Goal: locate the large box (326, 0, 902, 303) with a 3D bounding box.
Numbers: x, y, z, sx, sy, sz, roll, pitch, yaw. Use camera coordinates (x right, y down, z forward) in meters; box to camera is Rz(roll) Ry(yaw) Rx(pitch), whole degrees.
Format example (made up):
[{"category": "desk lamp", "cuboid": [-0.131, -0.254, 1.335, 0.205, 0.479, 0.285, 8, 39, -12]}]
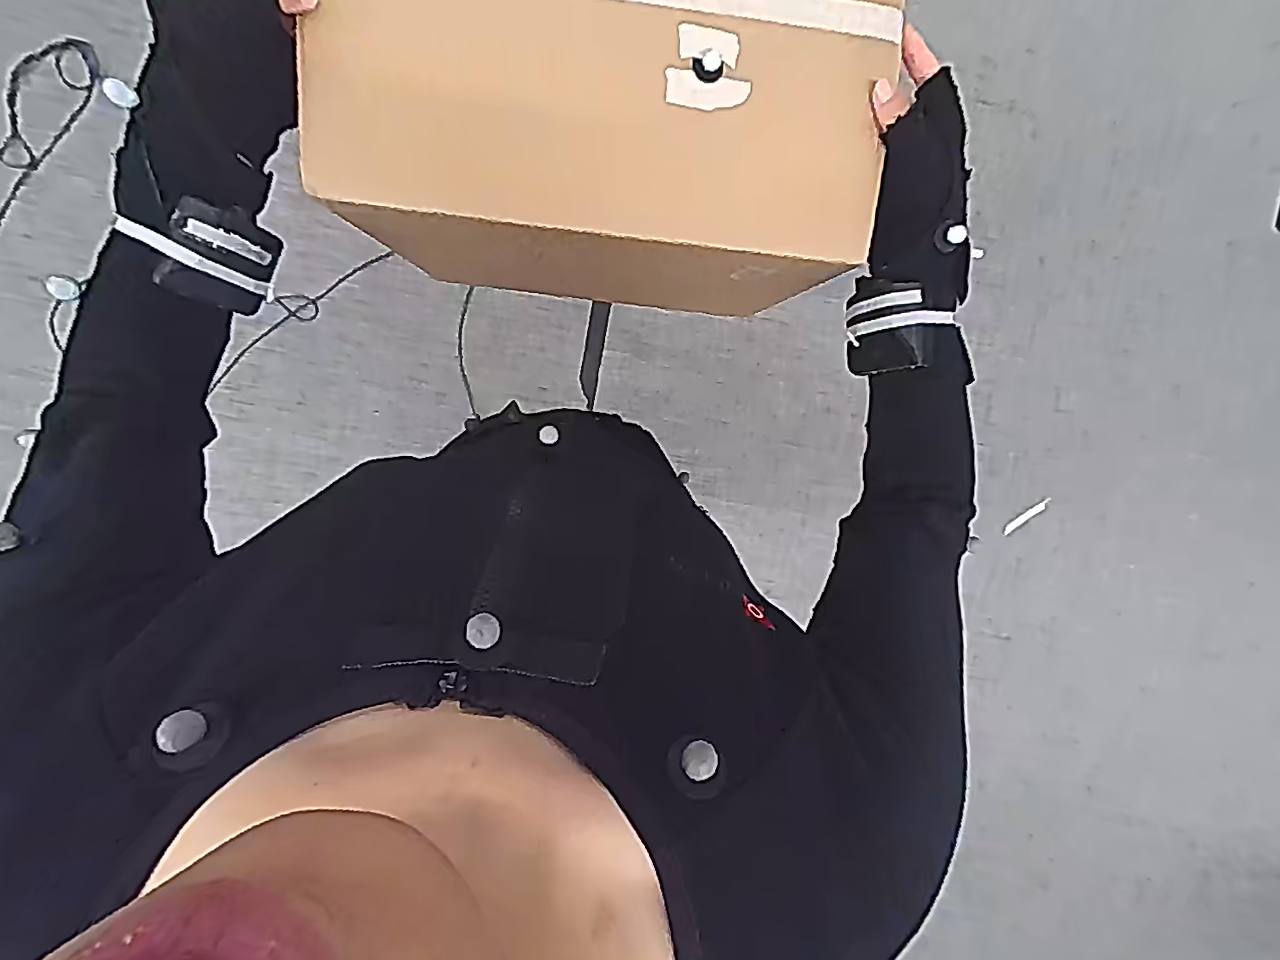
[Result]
[{"category": "large box", "cuboid": [-0.024, -0.366, 0.519, 0.408, 0.320, 0.320, 4, 100, -6]}]
